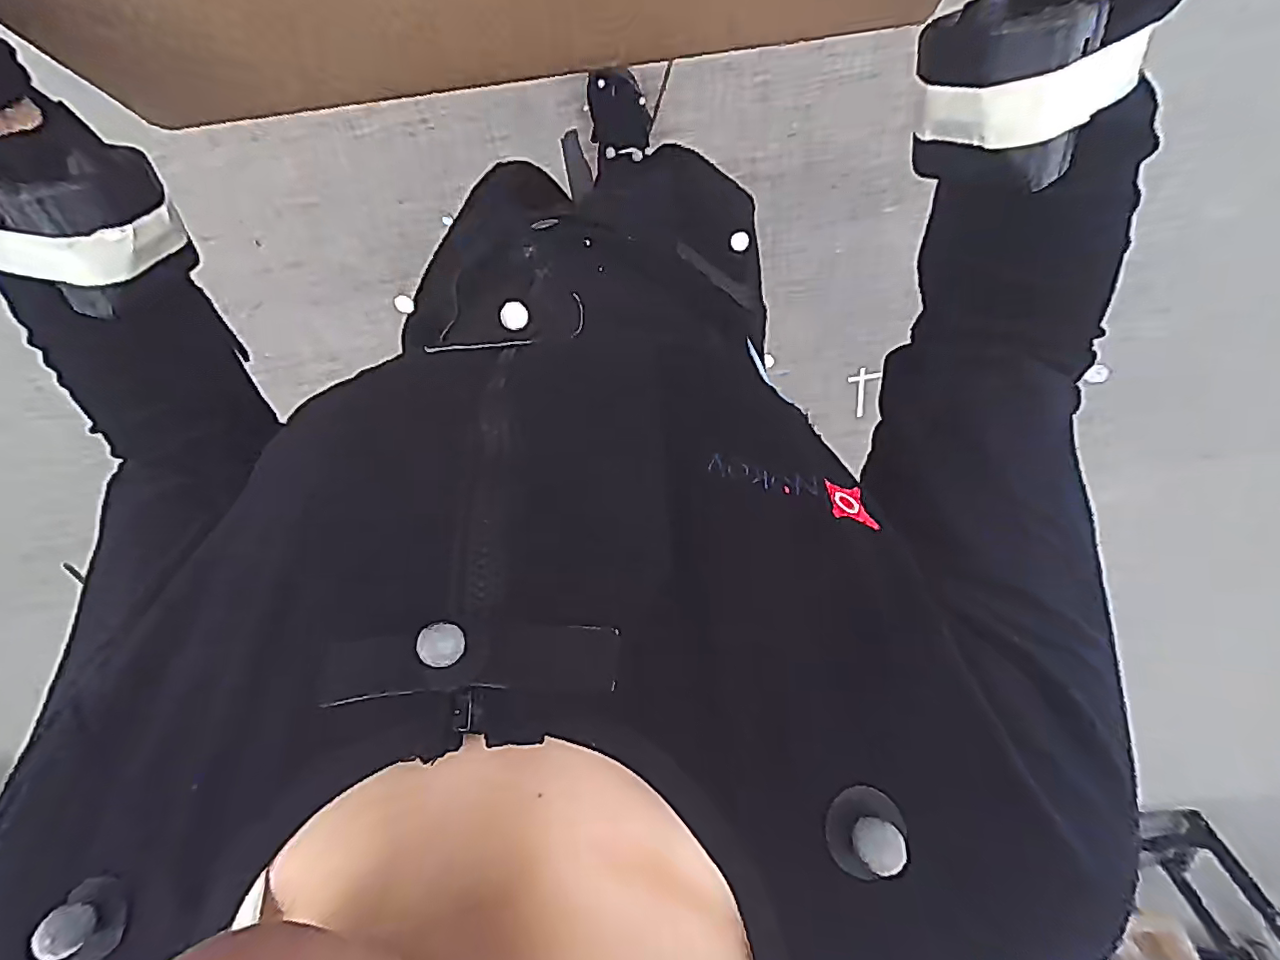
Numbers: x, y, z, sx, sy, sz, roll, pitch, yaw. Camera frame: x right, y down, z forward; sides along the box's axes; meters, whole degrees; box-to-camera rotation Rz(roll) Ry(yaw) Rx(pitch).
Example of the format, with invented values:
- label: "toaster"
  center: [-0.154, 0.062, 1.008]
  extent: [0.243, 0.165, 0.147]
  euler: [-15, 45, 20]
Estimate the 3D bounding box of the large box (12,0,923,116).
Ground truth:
- label: "large box"
  center: [-0.080, -0.365, 0.131]
  extent: [0.408, 0.320, 0.320]
  euler: [-5, 91, 4]
